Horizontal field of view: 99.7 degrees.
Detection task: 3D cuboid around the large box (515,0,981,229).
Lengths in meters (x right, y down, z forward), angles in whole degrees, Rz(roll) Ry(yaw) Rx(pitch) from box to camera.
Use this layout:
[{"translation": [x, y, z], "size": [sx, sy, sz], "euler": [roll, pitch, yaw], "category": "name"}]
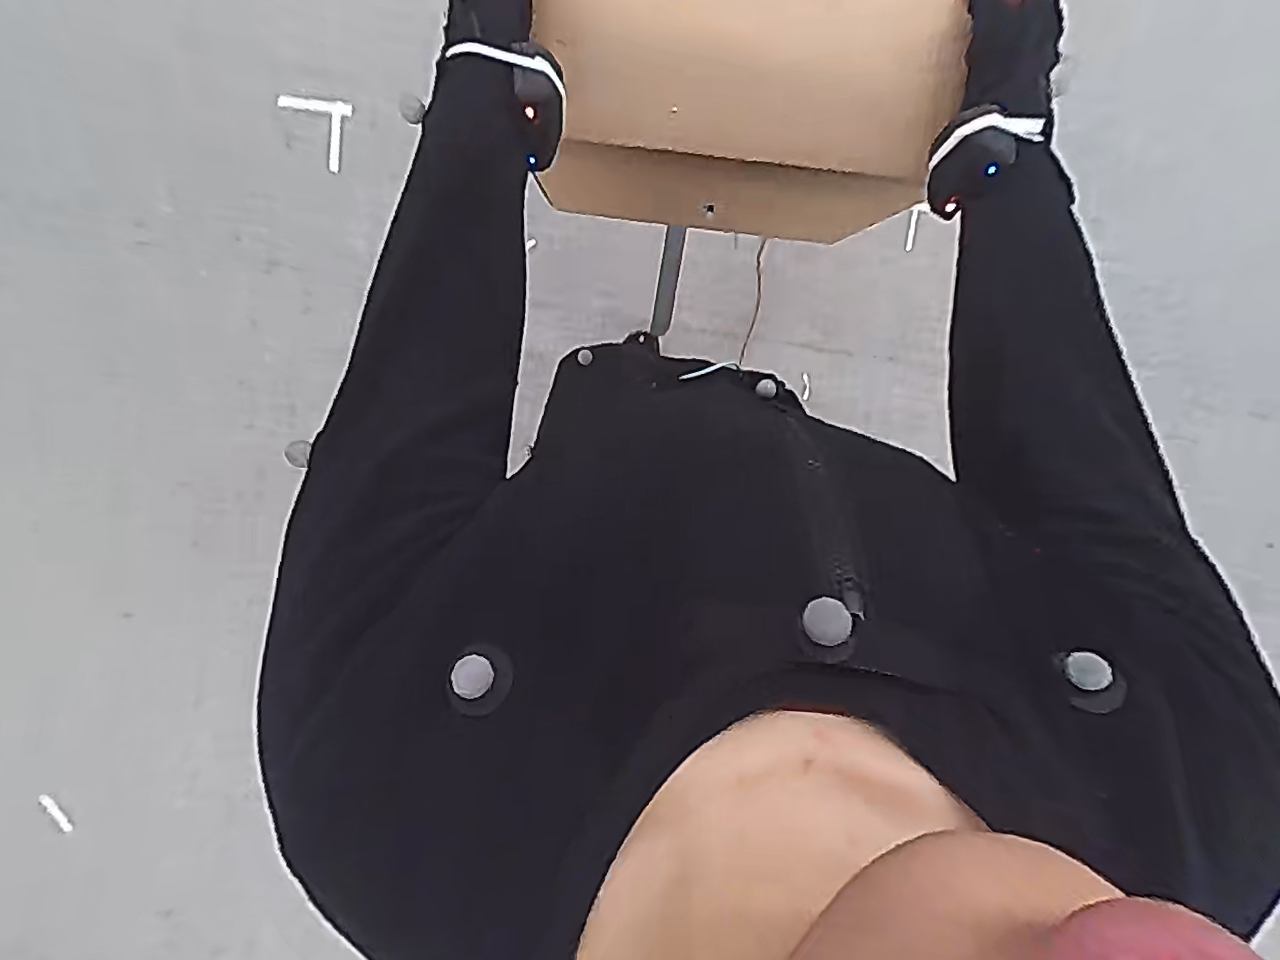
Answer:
[{"translation": [0.098, -0.484, 0.595], "size": [0.408, 0.320, 0.320], "euler": [6, 104, -3], "category": "large box"}]
